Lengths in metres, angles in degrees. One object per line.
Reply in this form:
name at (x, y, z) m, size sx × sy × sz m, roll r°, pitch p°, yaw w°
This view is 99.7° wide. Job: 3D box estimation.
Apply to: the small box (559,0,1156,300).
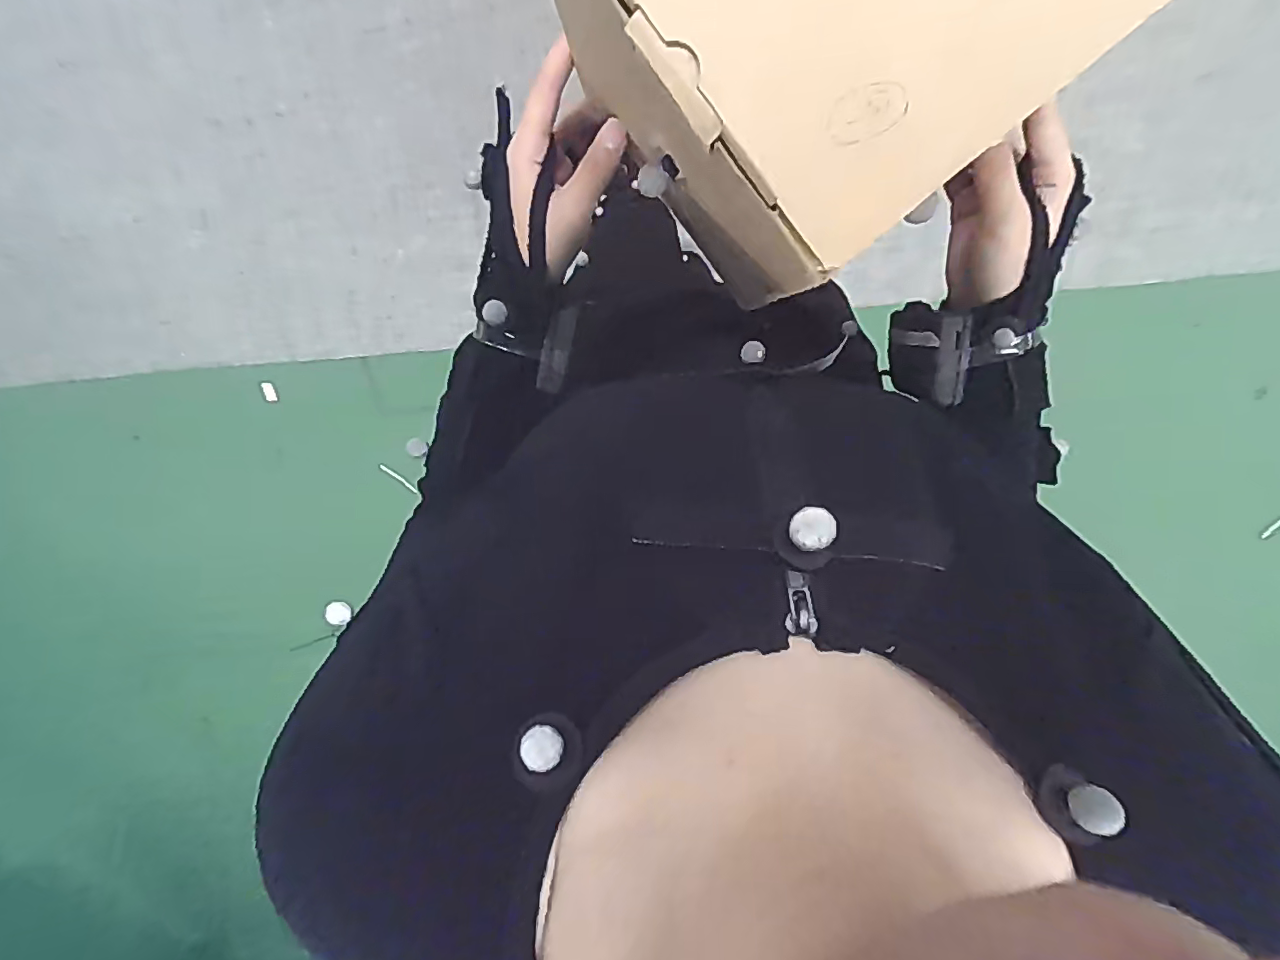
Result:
small box at (0.078, -0.201, 0.238) m, size 0.179 × 0.176 × 0.168 m, roll -38°, pitch 99°, yaw 11°
